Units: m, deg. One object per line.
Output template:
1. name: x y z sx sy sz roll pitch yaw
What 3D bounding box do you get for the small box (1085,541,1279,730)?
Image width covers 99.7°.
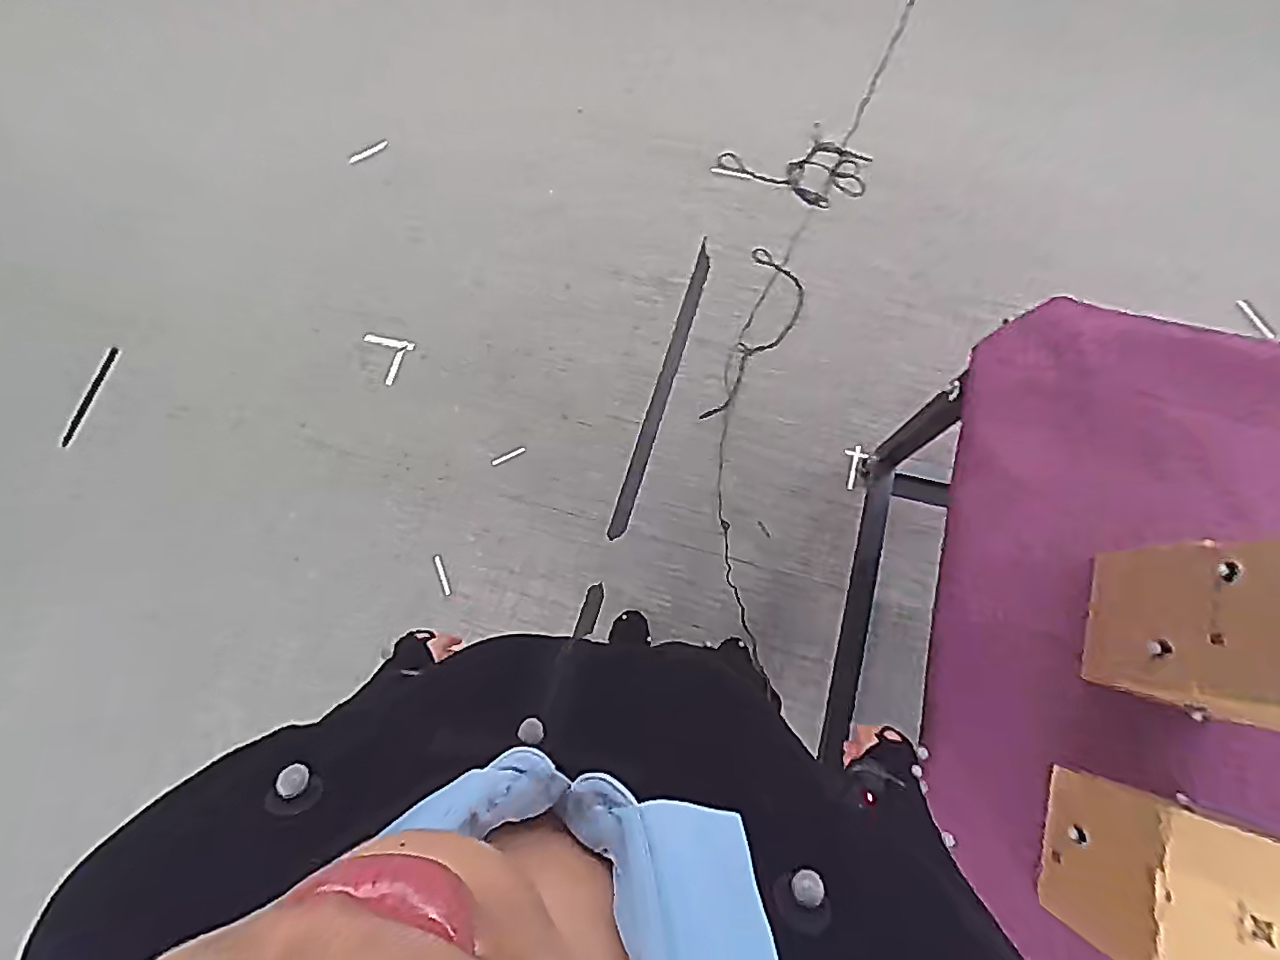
1. small box: 0.687 0.189 0.652 0.168 0.176 0.179 16 78 7

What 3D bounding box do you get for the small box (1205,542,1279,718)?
1. small box: 0.683 0.151 0.492 0.179 0.176 0.168 15 78 7

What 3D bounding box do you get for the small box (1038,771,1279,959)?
1. small box: 0.592 0.448 0.595 0.179 0.176 0.168 16 78 7
